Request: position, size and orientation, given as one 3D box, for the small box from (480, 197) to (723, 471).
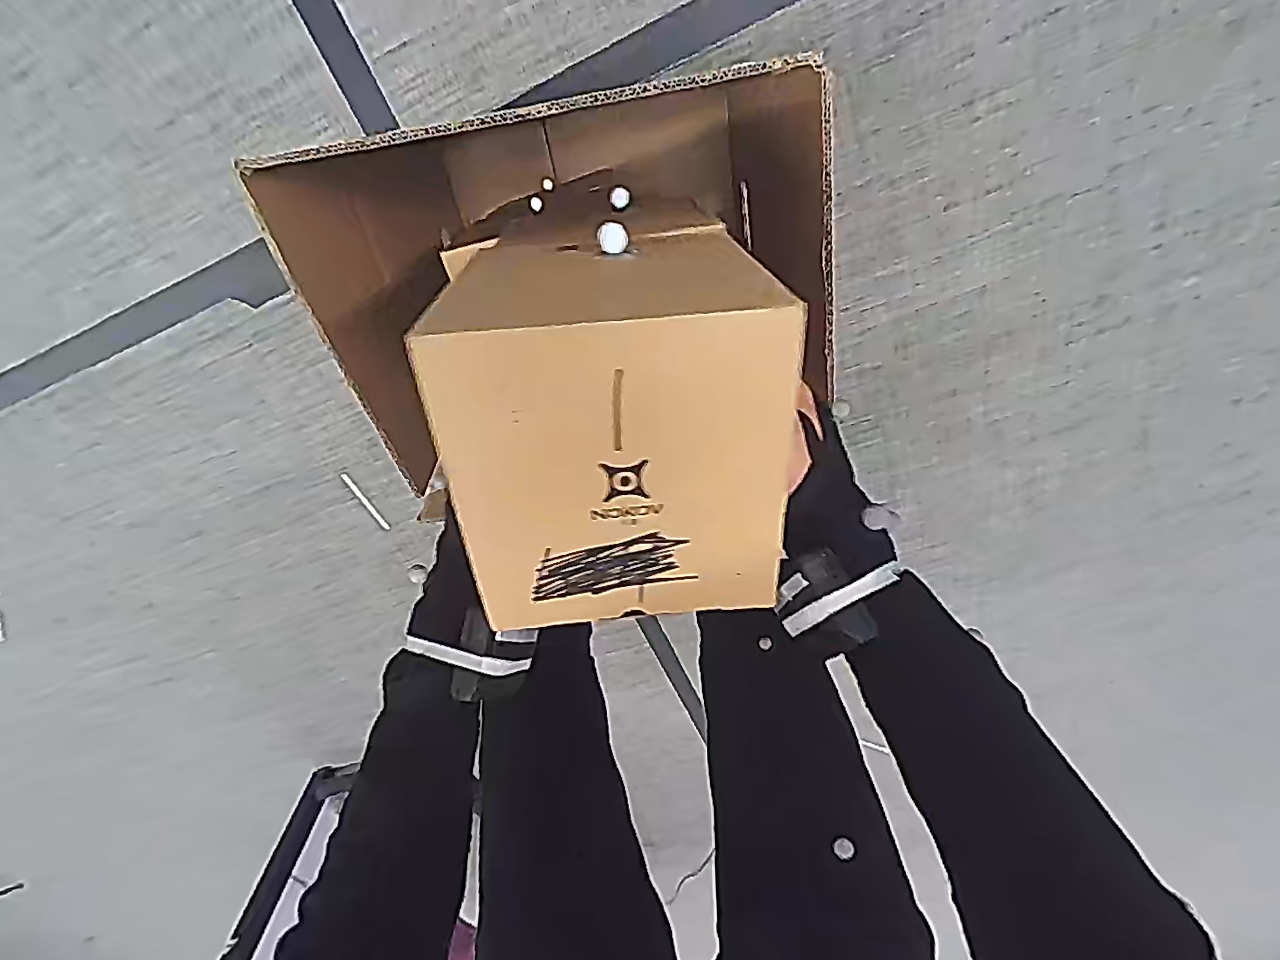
[{"bbox_3d":[-0.024,-0.132,0.476,0.168,0.176,0.179,-8,124,1],"label":"small box"}]
